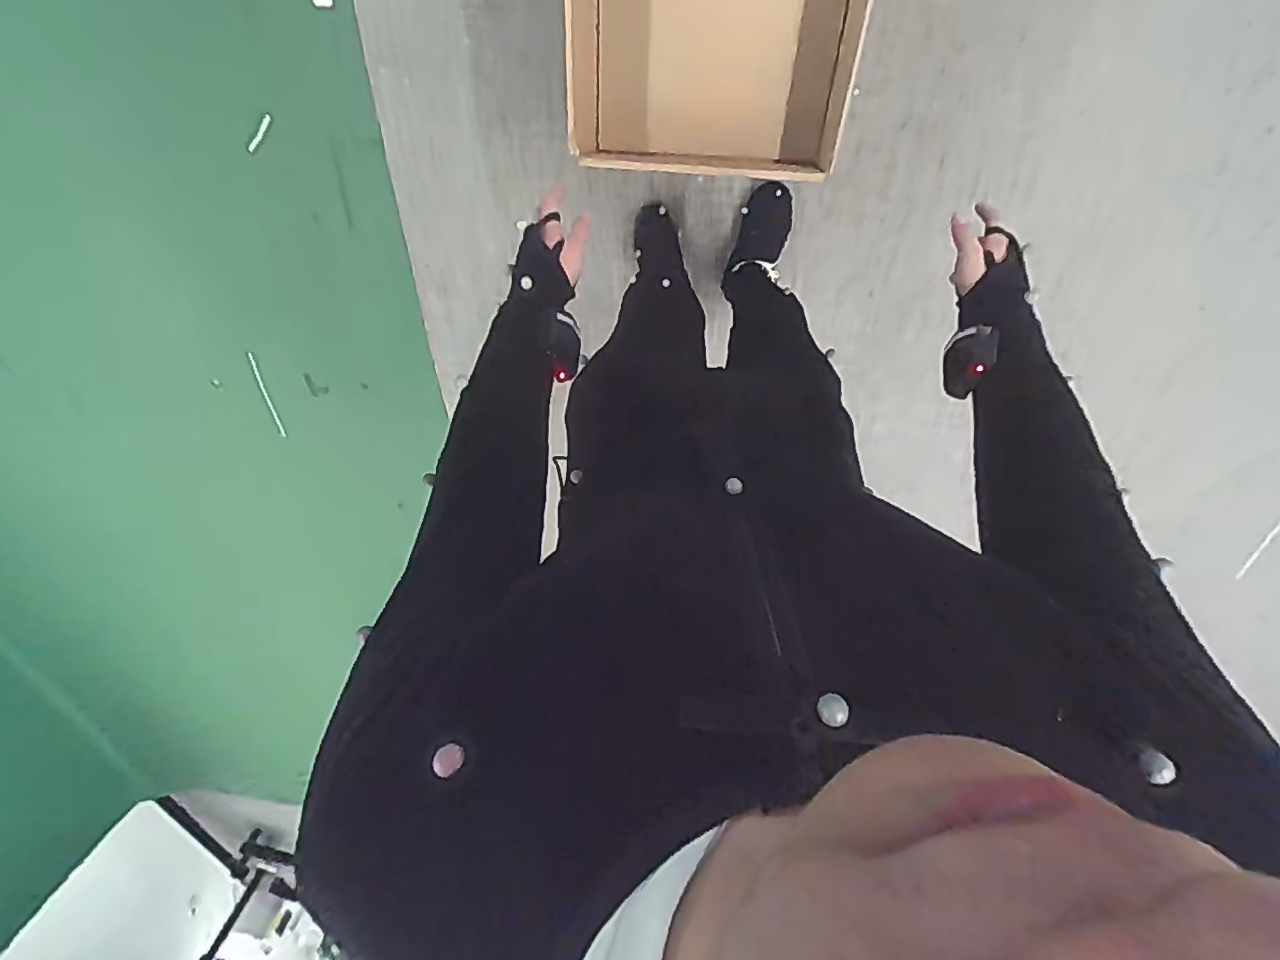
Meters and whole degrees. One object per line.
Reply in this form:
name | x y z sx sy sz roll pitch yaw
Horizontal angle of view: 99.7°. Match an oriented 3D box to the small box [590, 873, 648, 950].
small box | -0.066 1.470 1.862 0.168 0.176 0.179 4 124 9
